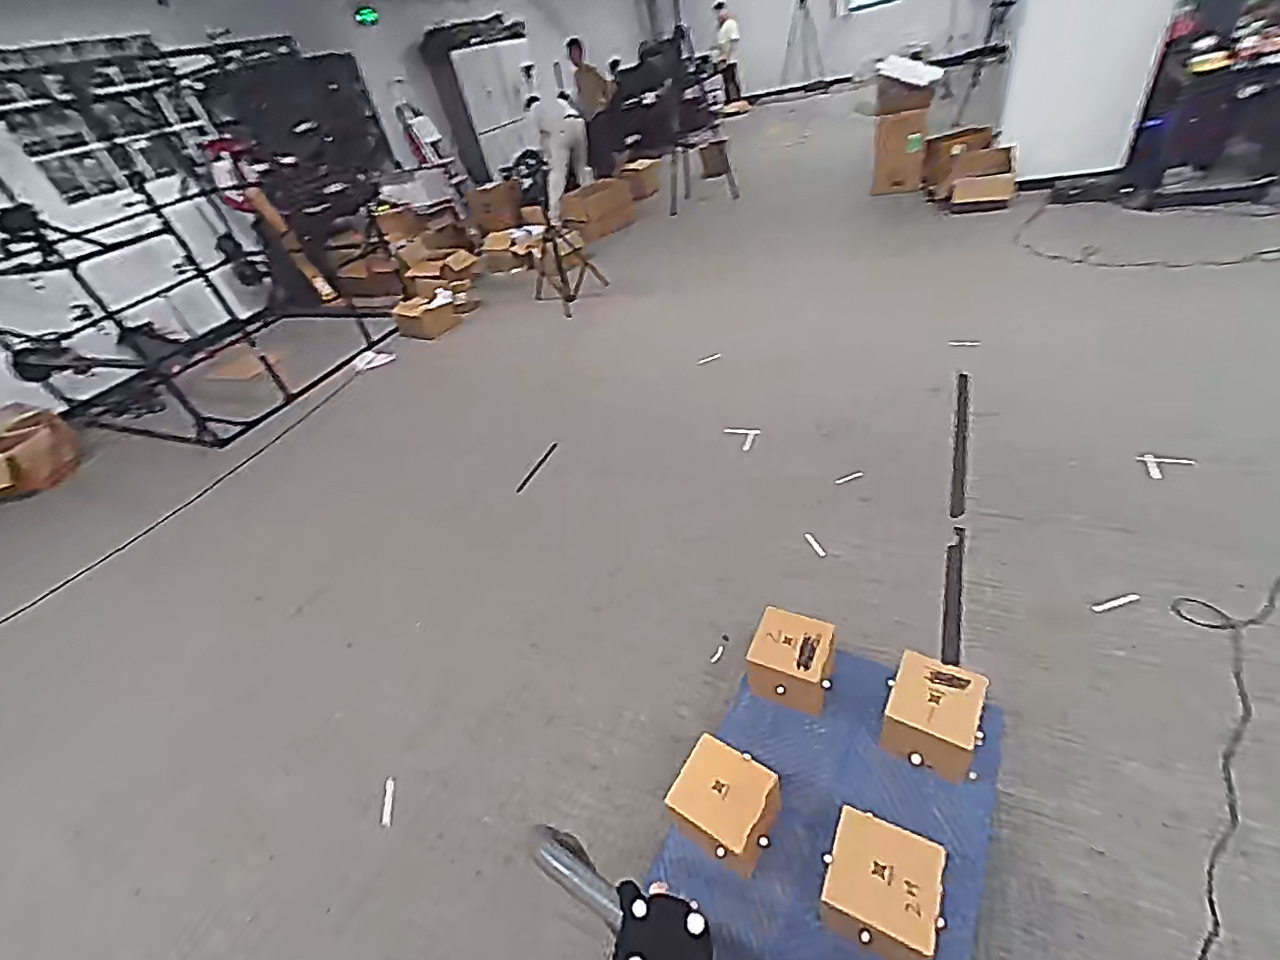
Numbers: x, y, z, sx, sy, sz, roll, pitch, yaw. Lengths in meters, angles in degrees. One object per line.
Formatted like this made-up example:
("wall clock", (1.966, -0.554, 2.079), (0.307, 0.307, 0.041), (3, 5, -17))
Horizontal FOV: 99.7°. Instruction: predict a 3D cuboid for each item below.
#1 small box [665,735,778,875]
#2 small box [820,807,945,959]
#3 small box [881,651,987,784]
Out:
("small box", (0.178, 0.688, 1.143), (0.179, 0.176, 0.168), (18, 48, 33))
("small box", (0.438, 0.745, 0.983), (0.179, 0.176, 0.168), (11, 45, 30))
("small box", (0.642, 0.521, 1.191), (0.168, 0.176, 0.179), (15, 48, 33))
